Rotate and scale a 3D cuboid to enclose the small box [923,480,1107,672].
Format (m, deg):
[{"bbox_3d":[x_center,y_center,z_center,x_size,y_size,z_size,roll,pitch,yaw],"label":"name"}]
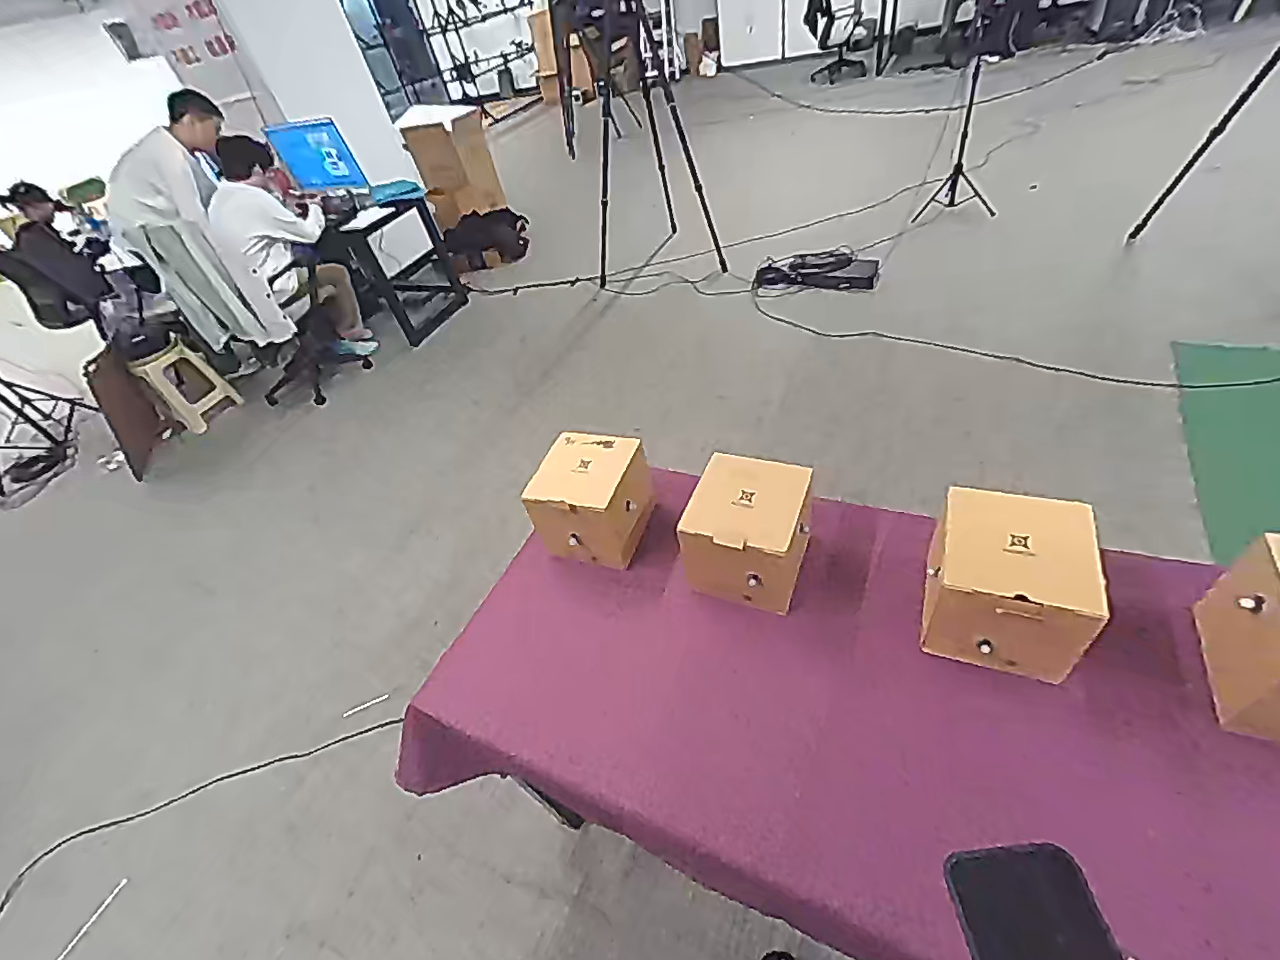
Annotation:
[{"bbox_3d":[0.492,0.127,0.736,0.168,0.176,0.179,9,50,24],"label":"small box"}]

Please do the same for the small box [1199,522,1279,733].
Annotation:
[{"bbox_3d":[0.774,0.177,0.597,0.168,0.176,0.179,10,50,26],"label":"small box"}]

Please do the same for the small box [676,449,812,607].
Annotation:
[{"bbox_3d":[0.176,0.078,0.878,0.168,0.176,0.179,12,50,25],"label":"small box"}]

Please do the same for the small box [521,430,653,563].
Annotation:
[{"bbox_3d":[-0.086,0.031,0.999,0.168,0.176,0.179,7,49,22],"label":"small box"}]
